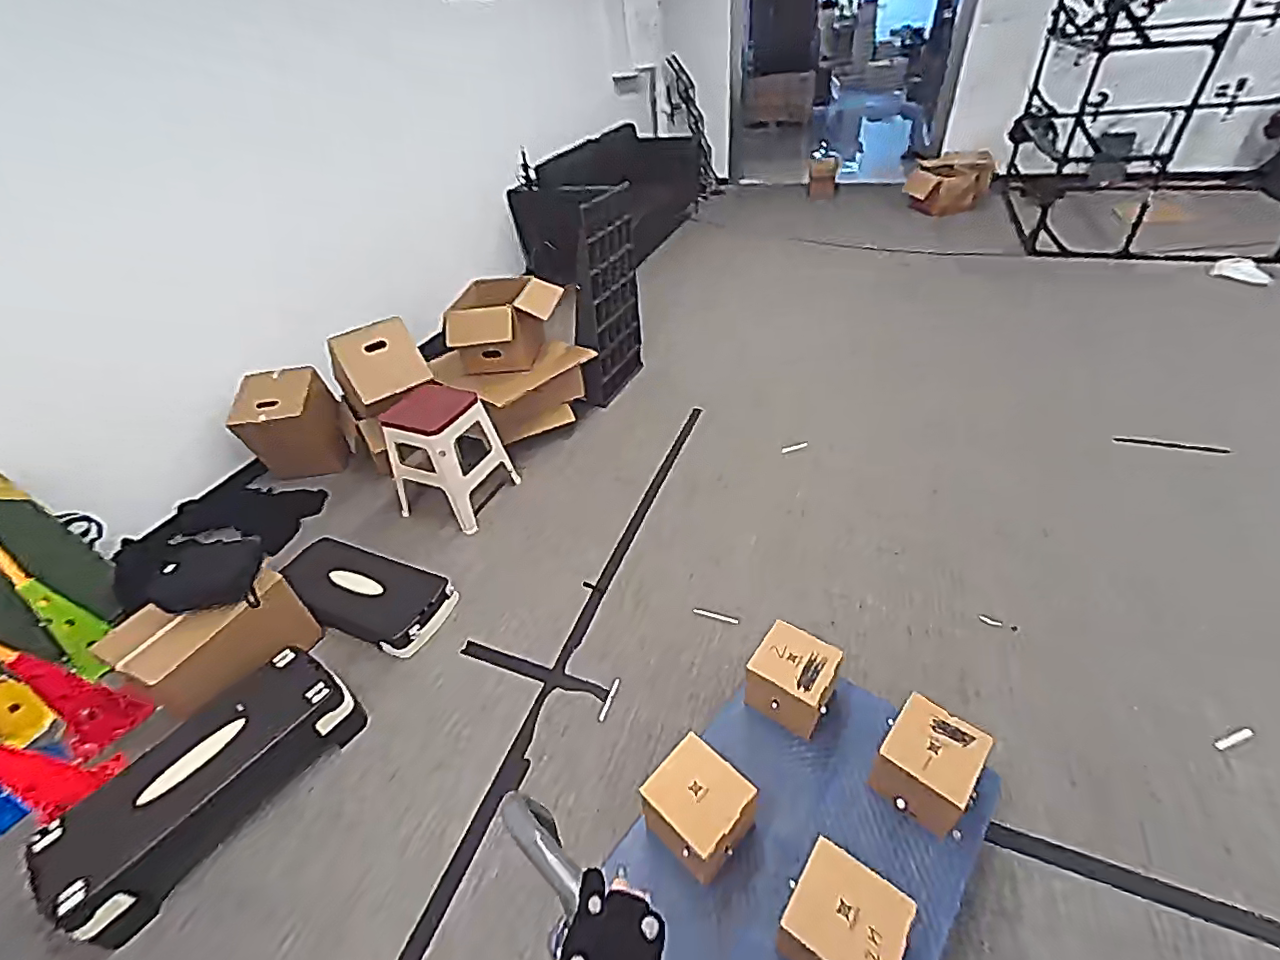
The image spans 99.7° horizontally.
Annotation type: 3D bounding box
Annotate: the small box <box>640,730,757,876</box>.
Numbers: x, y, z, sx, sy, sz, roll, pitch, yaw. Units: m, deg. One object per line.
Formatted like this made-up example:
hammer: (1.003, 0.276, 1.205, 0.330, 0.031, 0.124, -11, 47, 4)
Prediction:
small box: (0.121, 0.673, 1.126, 0.179, 0.176, 0.168, 30, 51, 35)

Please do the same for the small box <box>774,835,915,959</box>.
small box: (0.353, 0.788, 0.958, 0.179, 0.176, 0.168, 24, 48, 32)

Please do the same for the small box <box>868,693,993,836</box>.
small box: (0.609, 0.604, 1.151, 0.168, 0.176, 0.179, 29, 52, 35)
